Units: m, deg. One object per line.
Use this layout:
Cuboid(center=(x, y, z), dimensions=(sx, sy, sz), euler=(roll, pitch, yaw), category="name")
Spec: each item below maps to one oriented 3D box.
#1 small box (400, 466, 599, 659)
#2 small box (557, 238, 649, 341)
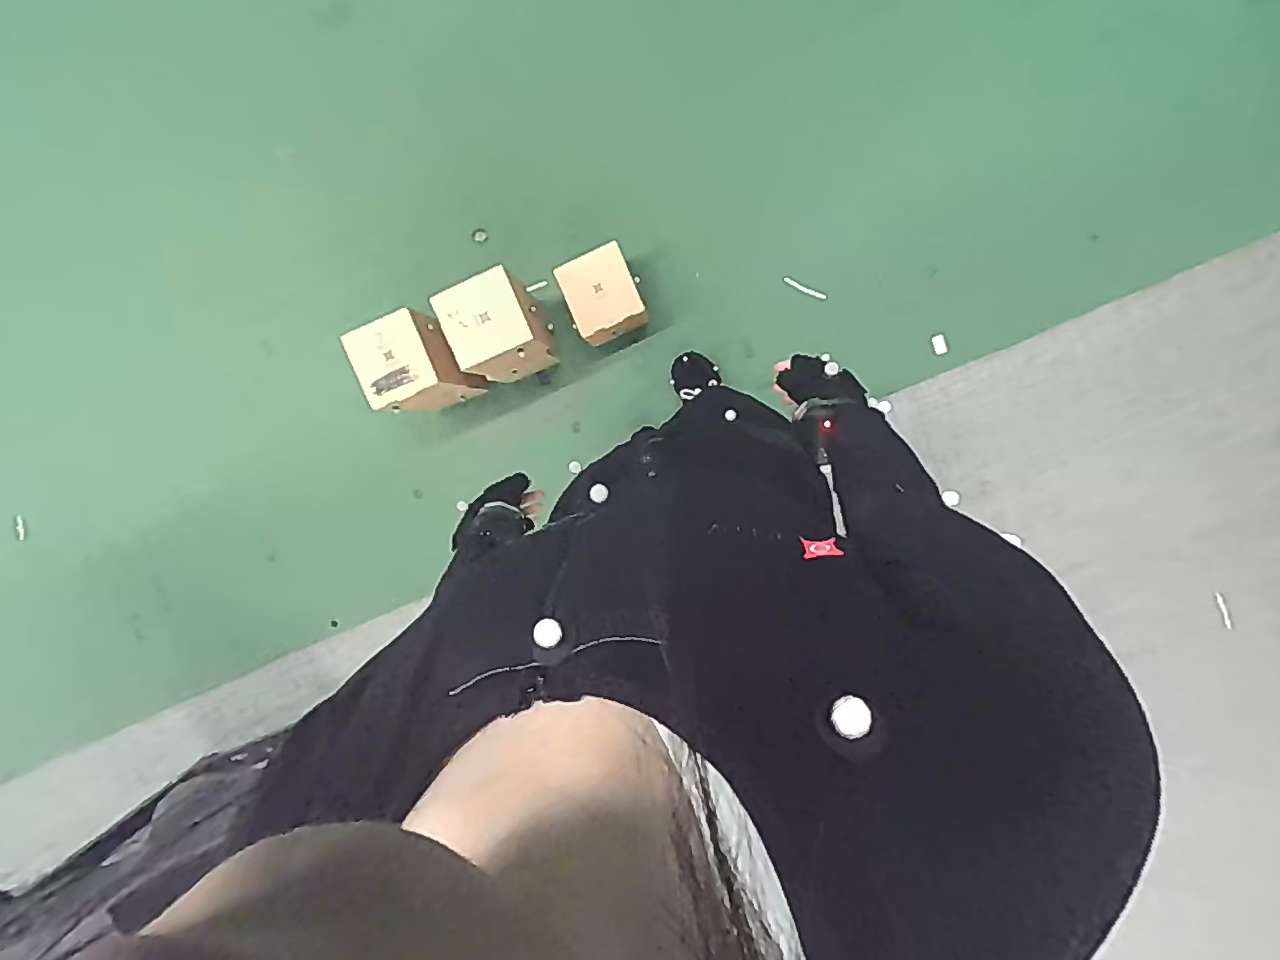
Cuboid(center=(-0.172, 0.104, 0.697), dimensions=(0.168, 0.179, 0.176), euler=(28, 86, 5), category="small box")
Cuboid(center=(-0.087, -0.468, 1.356), dimensions=(0.168, 0.176, 0.179), euler=(-24, 96, 7), category="small box")
